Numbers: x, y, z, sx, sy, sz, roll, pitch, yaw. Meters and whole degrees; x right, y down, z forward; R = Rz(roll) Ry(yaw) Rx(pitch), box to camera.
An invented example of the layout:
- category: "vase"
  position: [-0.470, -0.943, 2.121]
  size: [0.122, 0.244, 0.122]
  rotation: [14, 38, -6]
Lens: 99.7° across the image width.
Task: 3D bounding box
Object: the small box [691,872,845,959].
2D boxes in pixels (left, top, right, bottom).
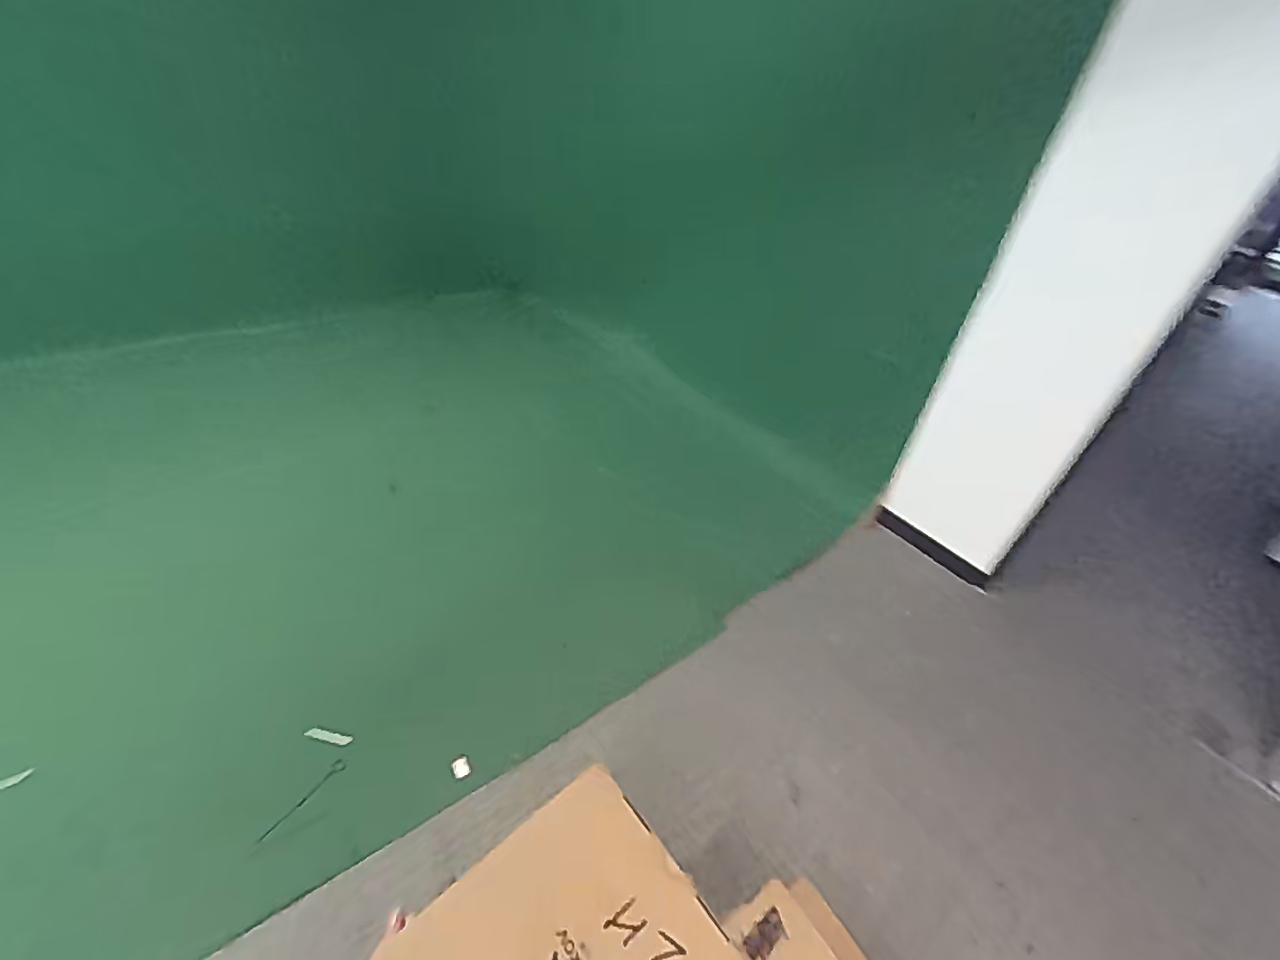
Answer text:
- category: "small box"
  position: [0.171, 0.685, 0.718]
  size: [0.168, 0.176, 0.179]
  rotation: [-20, 44, -30]
